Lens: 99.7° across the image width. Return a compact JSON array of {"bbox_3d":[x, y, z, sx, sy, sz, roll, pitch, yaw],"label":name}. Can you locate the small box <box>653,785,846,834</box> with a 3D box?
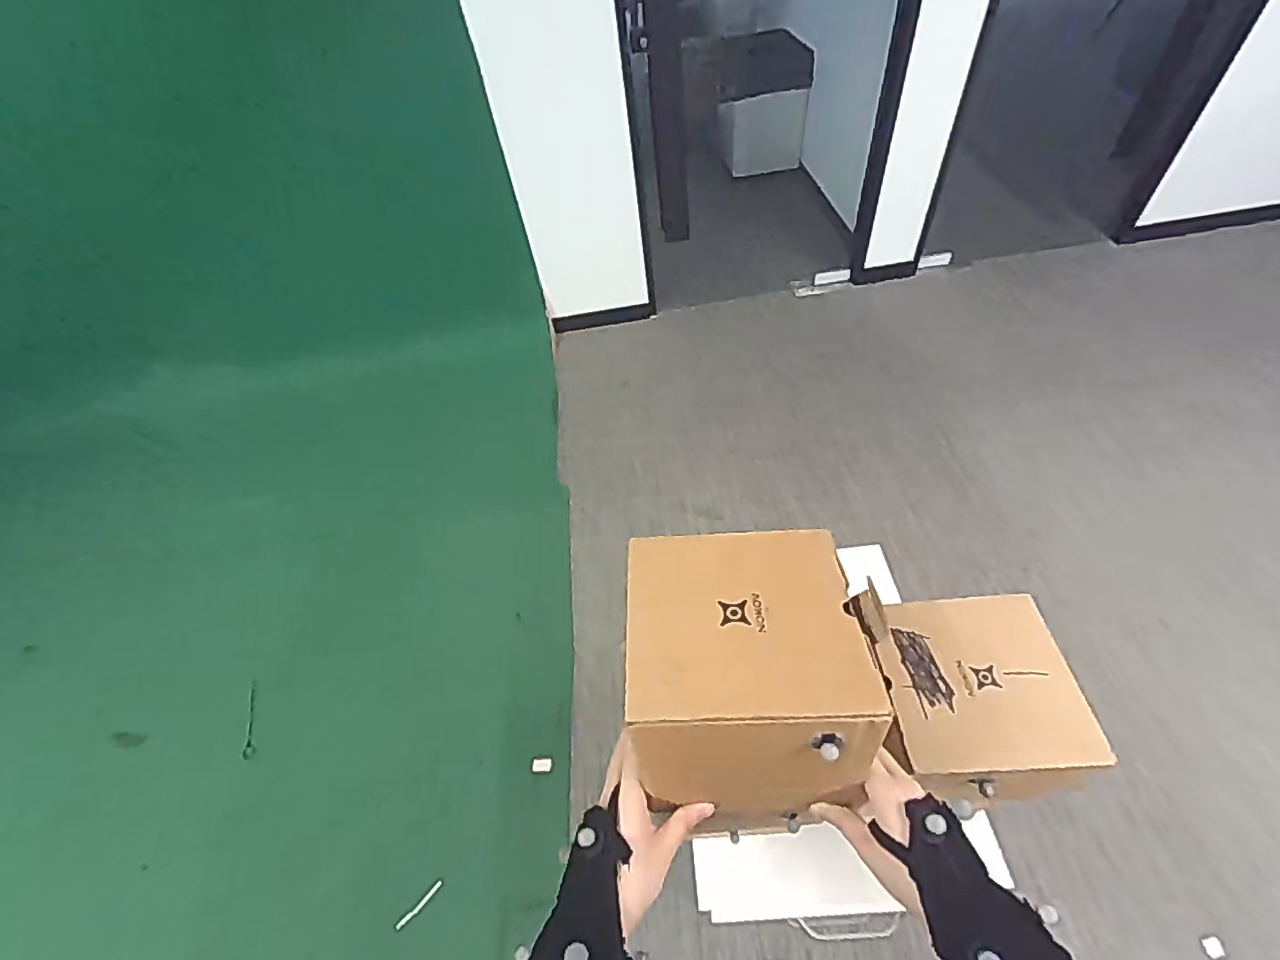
[{"bbox_3d":[0.101,0.276,0.593,0.179,0.176,0.168,-7,49,2],"label":"small box"}]

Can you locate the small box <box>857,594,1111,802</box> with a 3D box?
[{"bbox_3d":[0.334,0.241,0.585,0.179,0.176,0.168,-5,51,5],"label":"small box"}]

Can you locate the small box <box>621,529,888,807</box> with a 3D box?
[{"bbox_3d":[0.081,0.161,0.462,0.179,0.176,0.168,-3,41,3],"label":"small box"}]
